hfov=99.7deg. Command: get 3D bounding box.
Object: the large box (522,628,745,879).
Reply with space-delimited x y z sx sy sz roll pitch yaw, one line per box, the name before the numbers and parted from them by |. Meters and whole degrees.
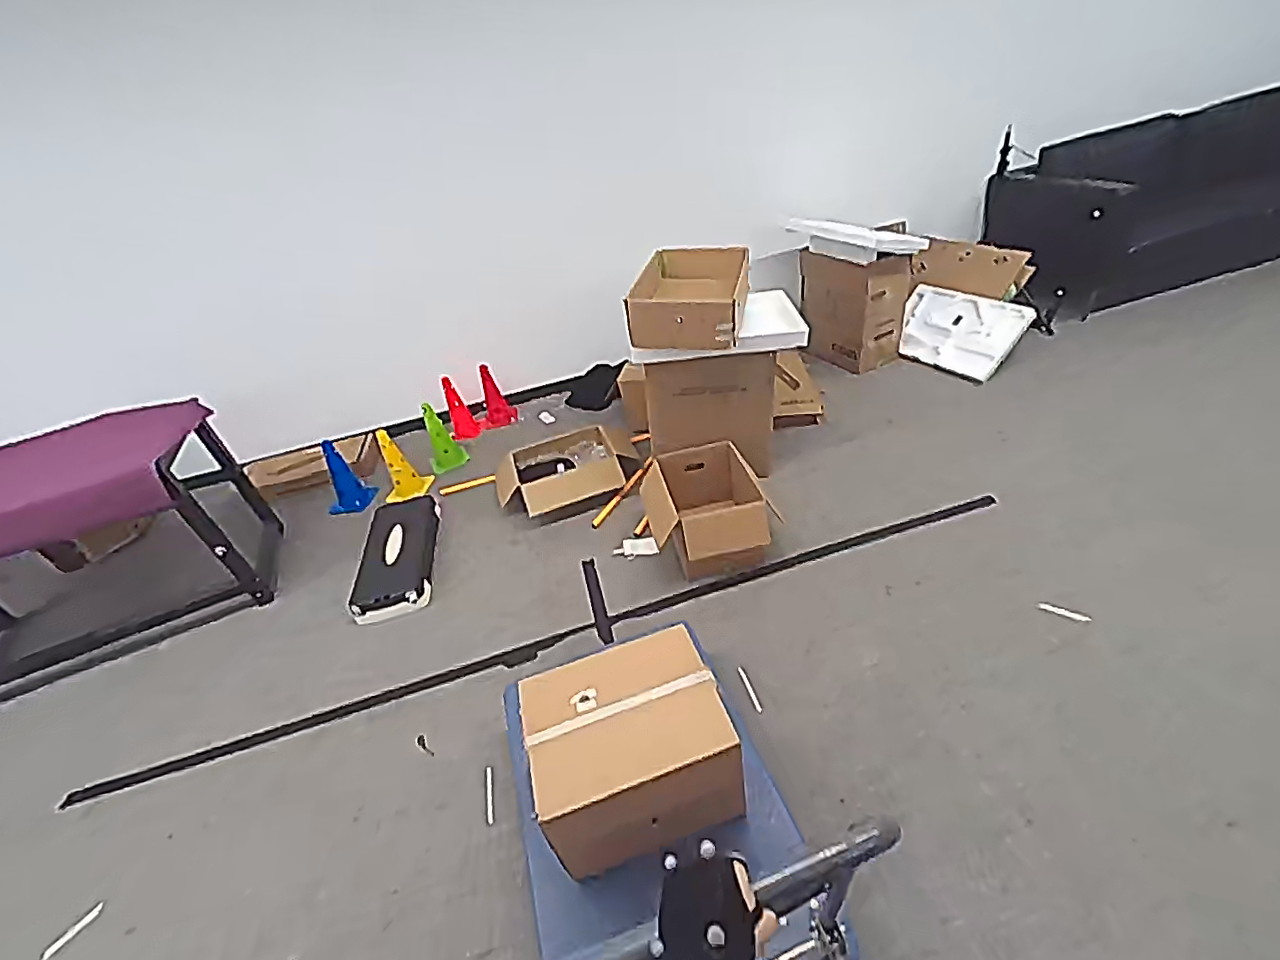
large box | -0.013 0.610 1.227 0.408 0.320 0.320 -18 35 -8
